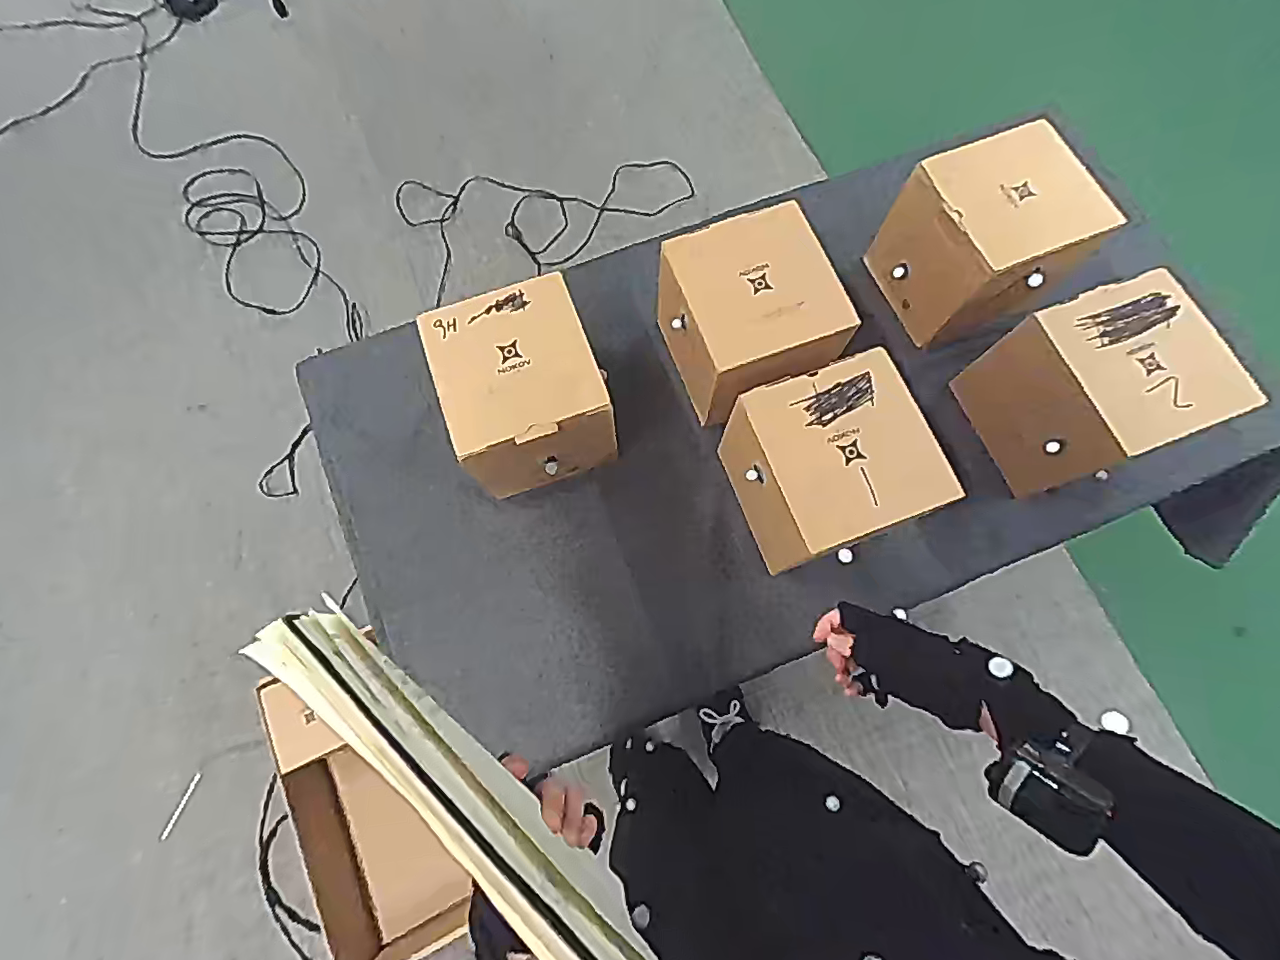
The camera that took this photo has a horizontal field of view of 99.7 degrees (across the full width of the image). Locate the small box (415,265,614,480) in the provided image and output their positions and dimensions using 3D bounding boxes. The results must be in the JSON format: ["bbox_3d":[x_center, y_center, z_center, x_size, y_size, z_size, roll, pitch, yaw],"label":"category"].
[{"bbox_3d":[-0.135,-0.111,0.640,0.168,0.176,0.179,-19,75,-5],"label":"small box"}]

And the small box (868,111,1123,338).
[{"bbox_3d":[0.431,-0.314,0.690,0.179,0.176,0.168,-22,75,-4],"label":"small box"}]
